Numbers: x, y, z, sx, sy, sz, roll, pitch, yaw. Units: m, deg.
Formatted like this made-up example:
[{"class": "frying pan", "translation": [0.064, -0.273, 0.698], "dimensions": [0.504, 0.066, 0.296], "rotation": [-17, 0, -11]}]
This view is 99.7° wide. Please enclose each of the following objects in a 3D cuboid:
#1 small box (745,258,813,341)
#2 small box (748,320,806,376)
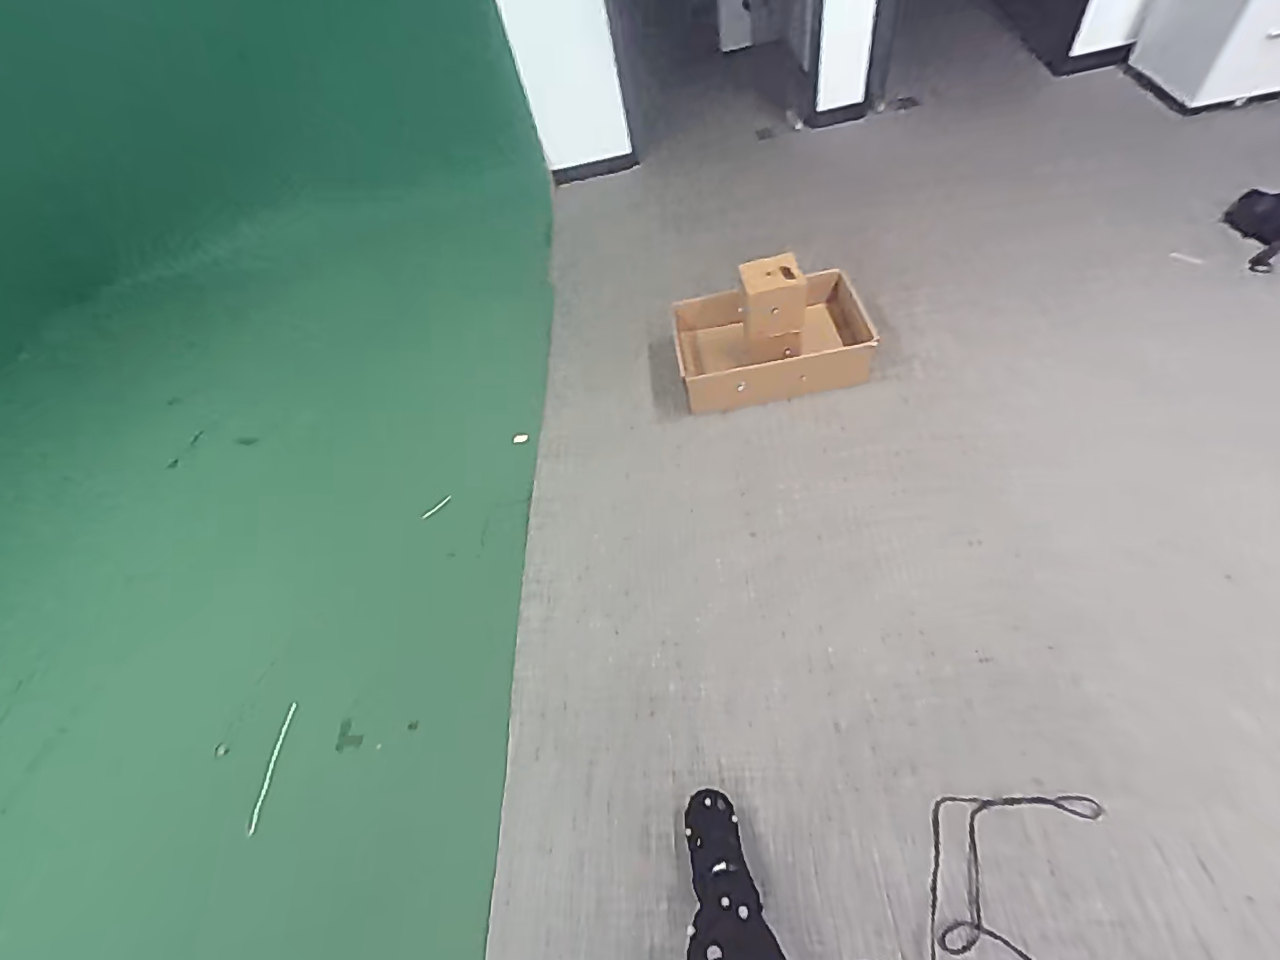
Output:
[{"class": "small box", "translation": [0.434, -0.565, 1.705], "dimensions": [0.179, 0.176, 0.168], "rotation": [-10, 53, 7]}, {"class": "small box", "translation": [0.463, -0.470, 1.835], "dimensions": [0.168, 0.176, 0.179], "rotation": [-8, 52, 7]}]
